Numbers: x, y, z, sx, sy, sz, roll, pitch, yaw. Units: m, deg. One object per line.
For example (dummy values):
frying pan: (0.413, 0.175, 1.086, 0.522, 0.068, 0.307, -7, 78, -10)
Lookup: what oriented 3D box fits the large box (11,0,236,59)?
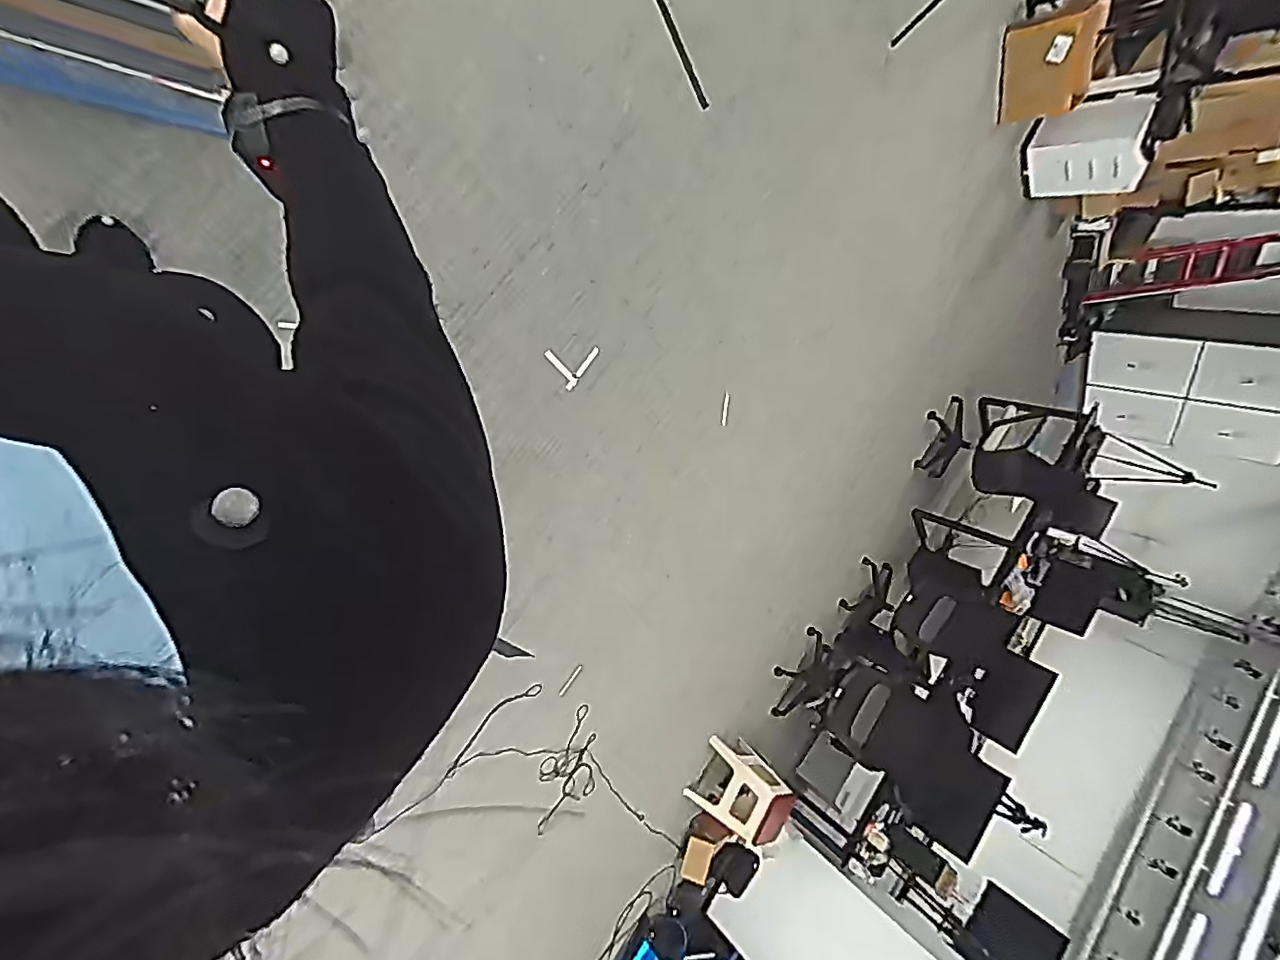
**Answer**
large box: (-0.760, -0.783, 0.635, 0.408, 0.320, 0.320, -8, 113, -43)
